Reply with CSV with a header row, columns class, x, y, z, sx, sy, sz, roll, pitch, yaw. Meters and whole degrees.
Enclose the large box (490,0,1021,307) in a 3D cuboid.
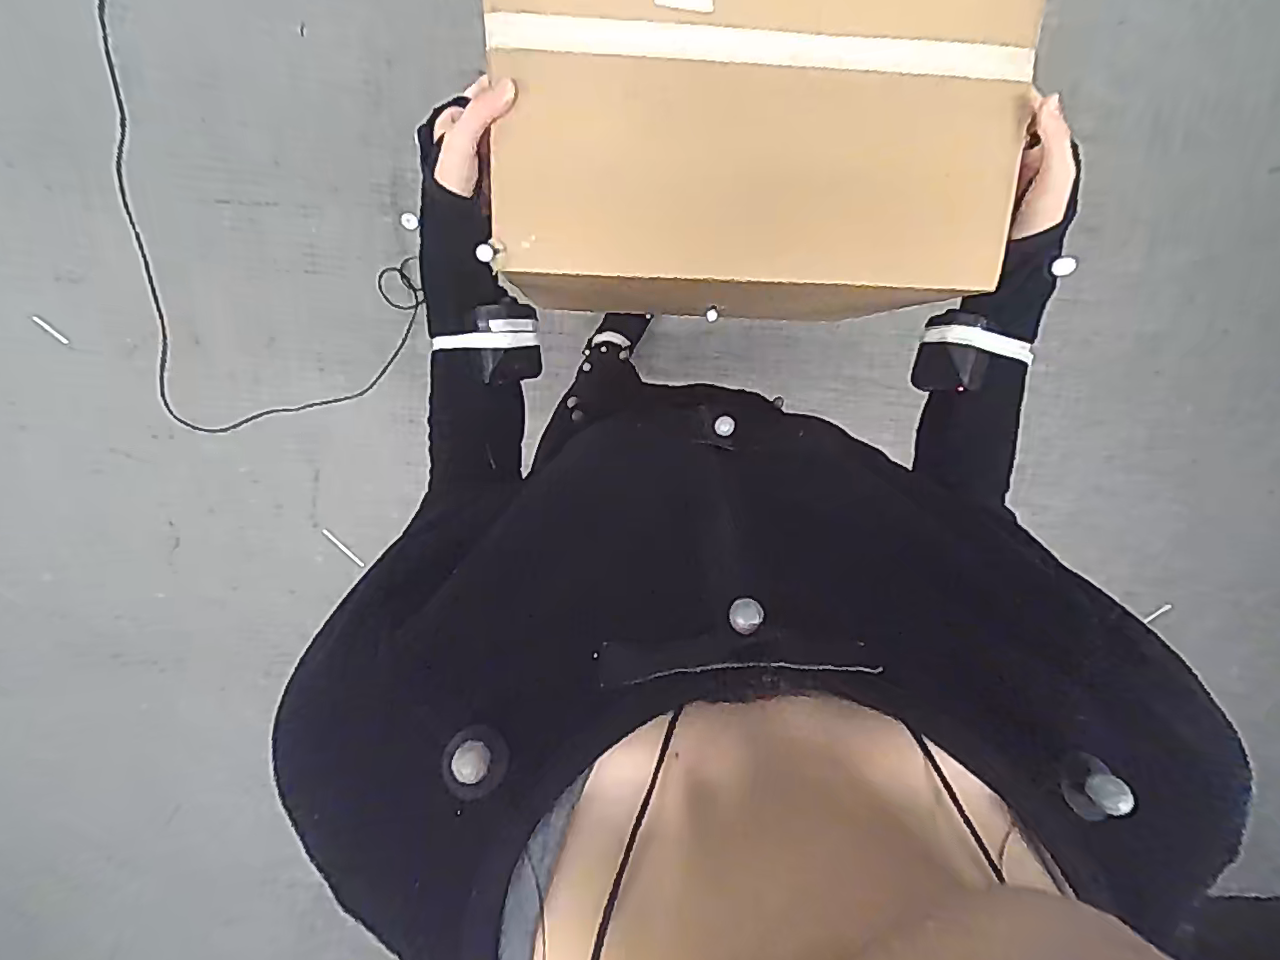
class,x,y,z,sx,sy,sz,roll,pitch,yaw
large box,0.081,-0.352,0.554,0.408,0.320,0.320,2,102,-4
